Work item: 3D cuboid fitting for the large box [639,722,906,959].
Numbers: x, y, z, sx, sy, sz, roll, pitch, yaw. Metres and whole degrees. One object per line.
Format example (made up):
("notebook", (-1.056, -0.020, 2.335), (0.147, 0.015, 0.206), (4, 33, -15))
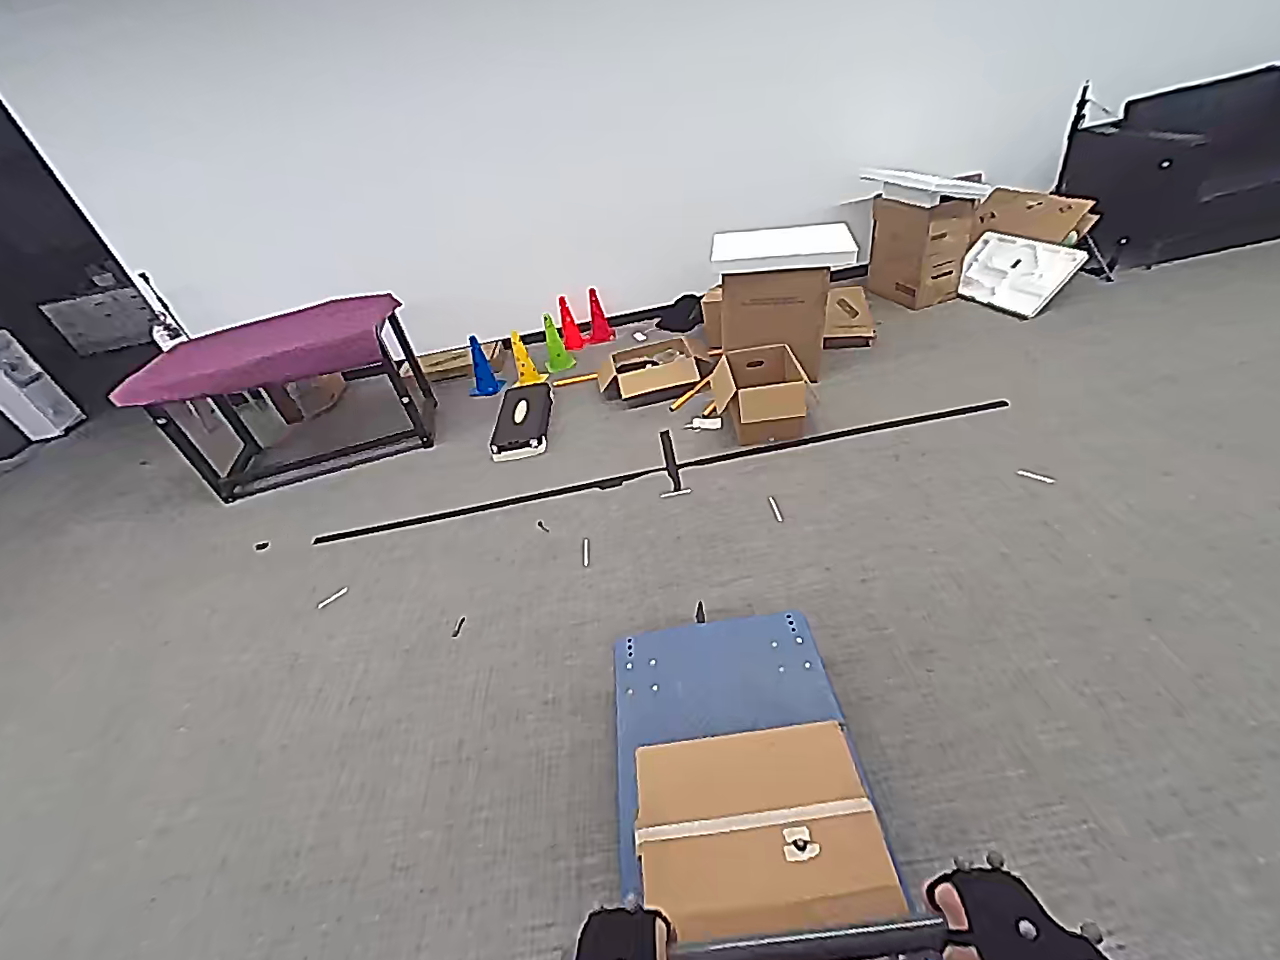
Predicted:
("large box", (0.225, 0.718, 1.042), (0.408, 0.320, 0.320), (-9, 38, 2))
